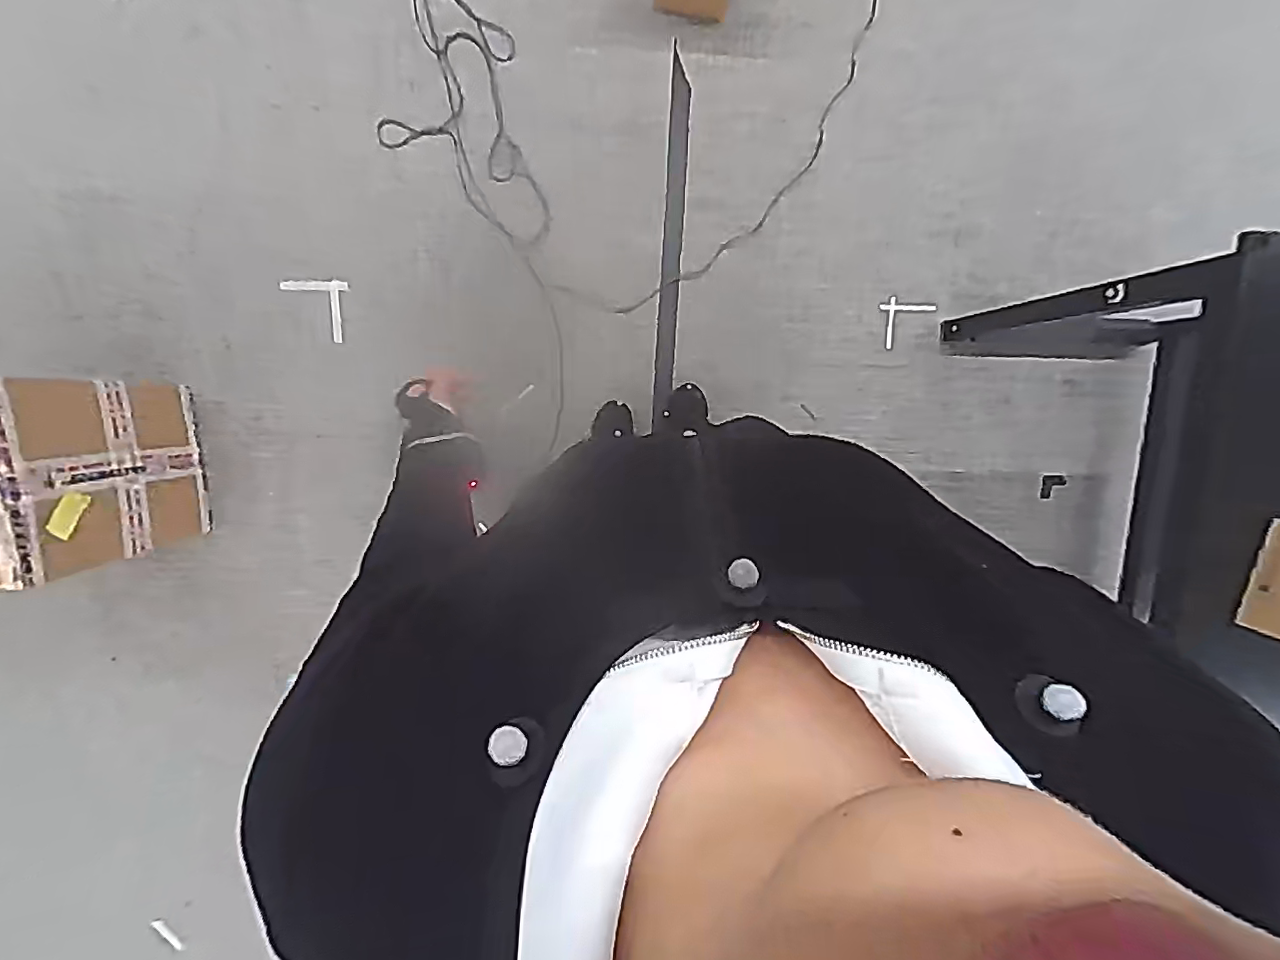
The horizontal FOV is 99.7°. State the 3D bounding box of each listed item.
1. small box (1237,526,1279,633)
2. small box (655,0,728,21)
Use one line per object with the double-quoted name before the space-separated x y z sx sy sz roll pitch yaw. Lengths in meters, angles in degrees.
"small box" 0.998 0.158 0.735 0.179 0.176 0.168 12 98 -5
"small box" 0.133 -1.209 1.242 0.179 0.176 0.168 8 98 -3
